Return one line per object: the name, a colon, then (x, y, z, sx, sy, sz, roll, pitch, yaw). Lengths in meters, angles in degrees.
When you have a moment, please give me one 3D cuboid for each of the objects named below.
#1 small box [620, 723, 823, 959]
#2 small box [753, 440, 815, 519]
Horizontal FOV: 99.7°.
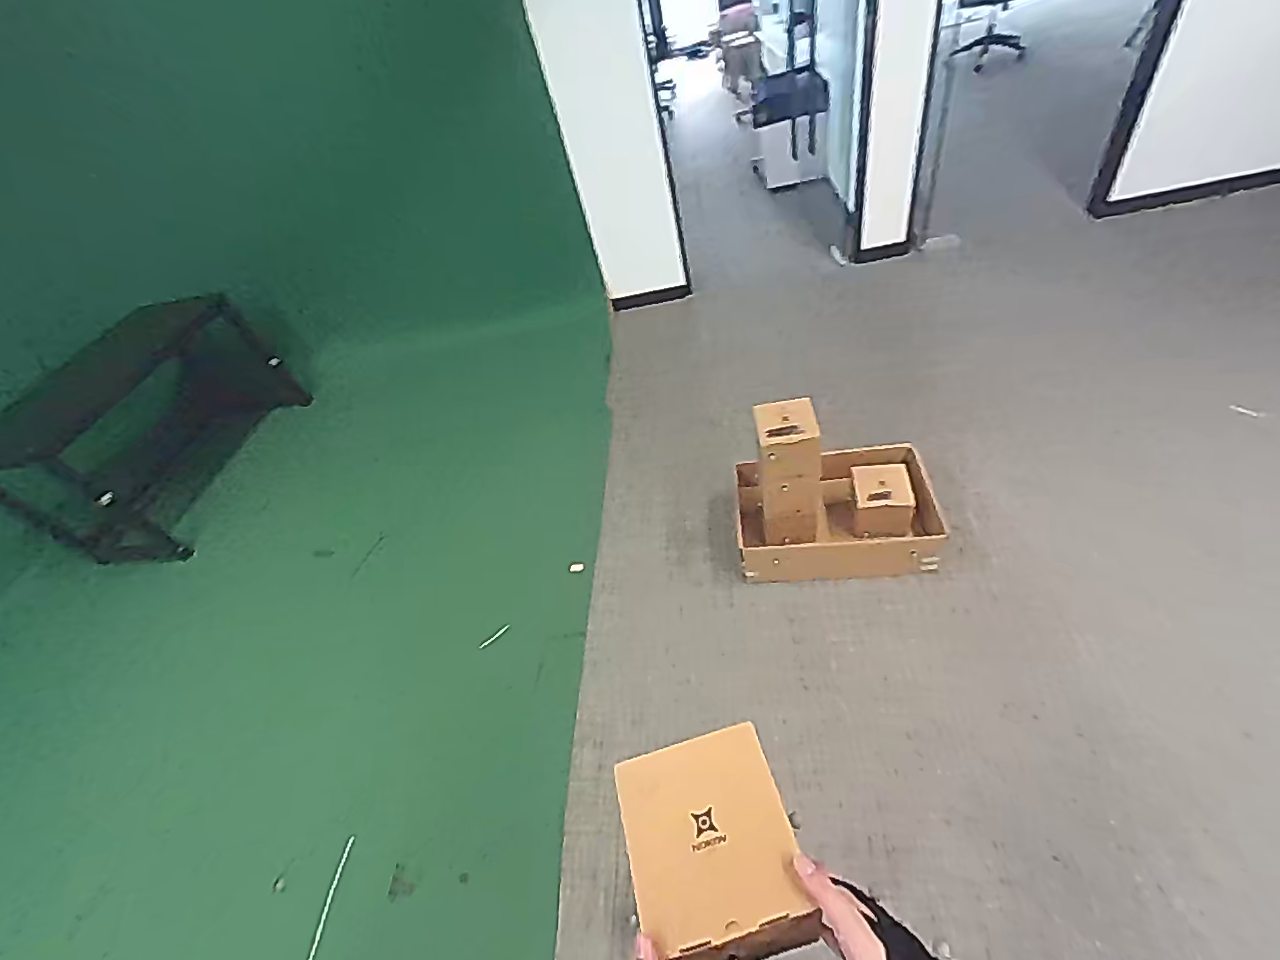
small box: (0.084, 0.407, 0.597, 0.168, 0.176, 0.179, -16, 43, -1)
small box: (0.456, 0.000, 1.722, 0.168, 0.176, 0.179, -8, 46, 10)
